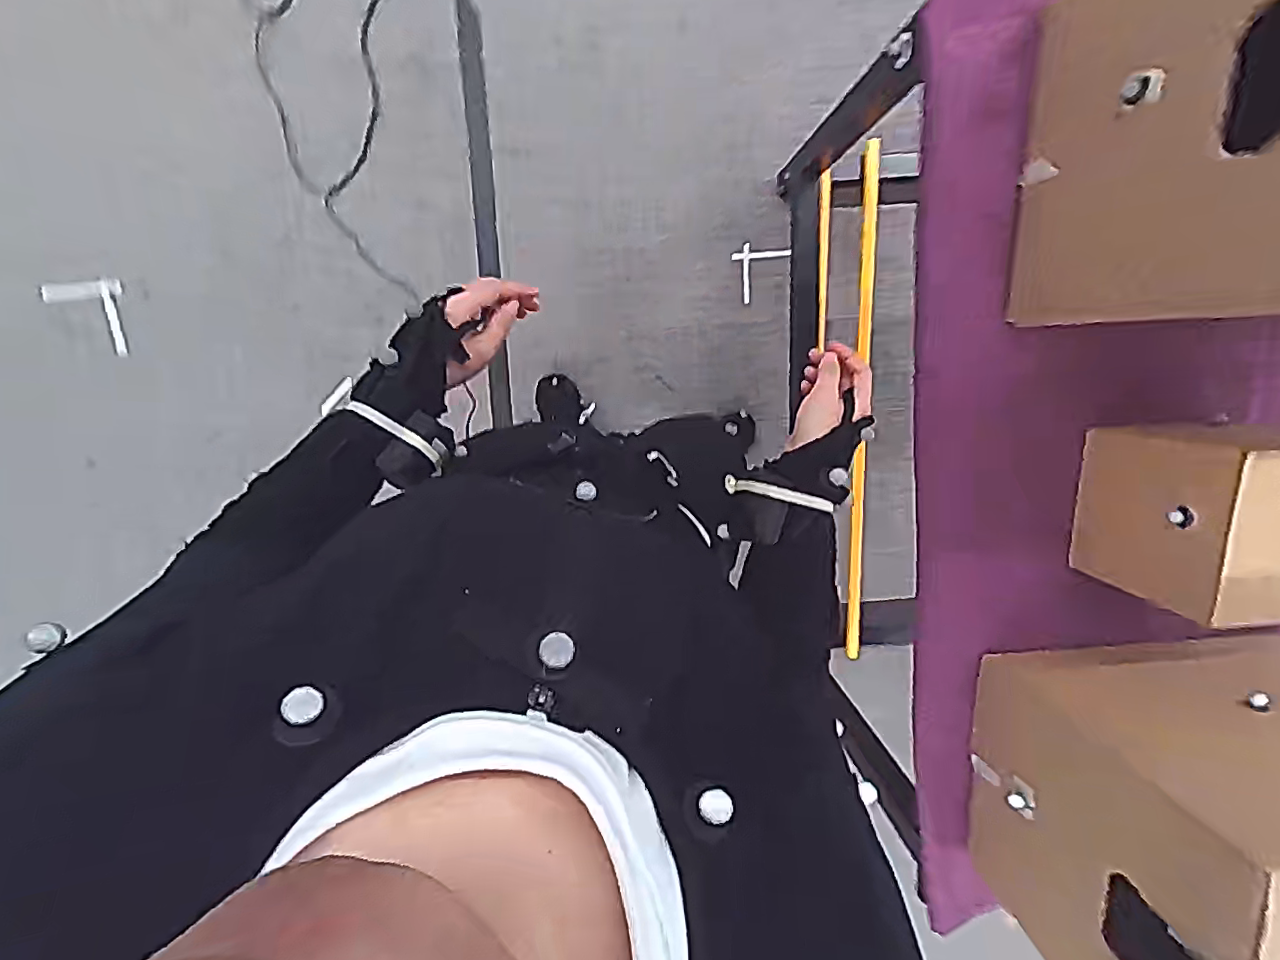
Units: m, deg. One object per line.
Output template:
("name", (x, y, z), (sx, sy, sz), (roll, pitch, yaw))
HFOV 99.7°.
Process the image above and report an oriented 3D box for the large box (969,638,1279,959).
("large box", (0.644, 0.394, 0.582), (0.408, 0.320, 0.320), (-4, 102, -4))
